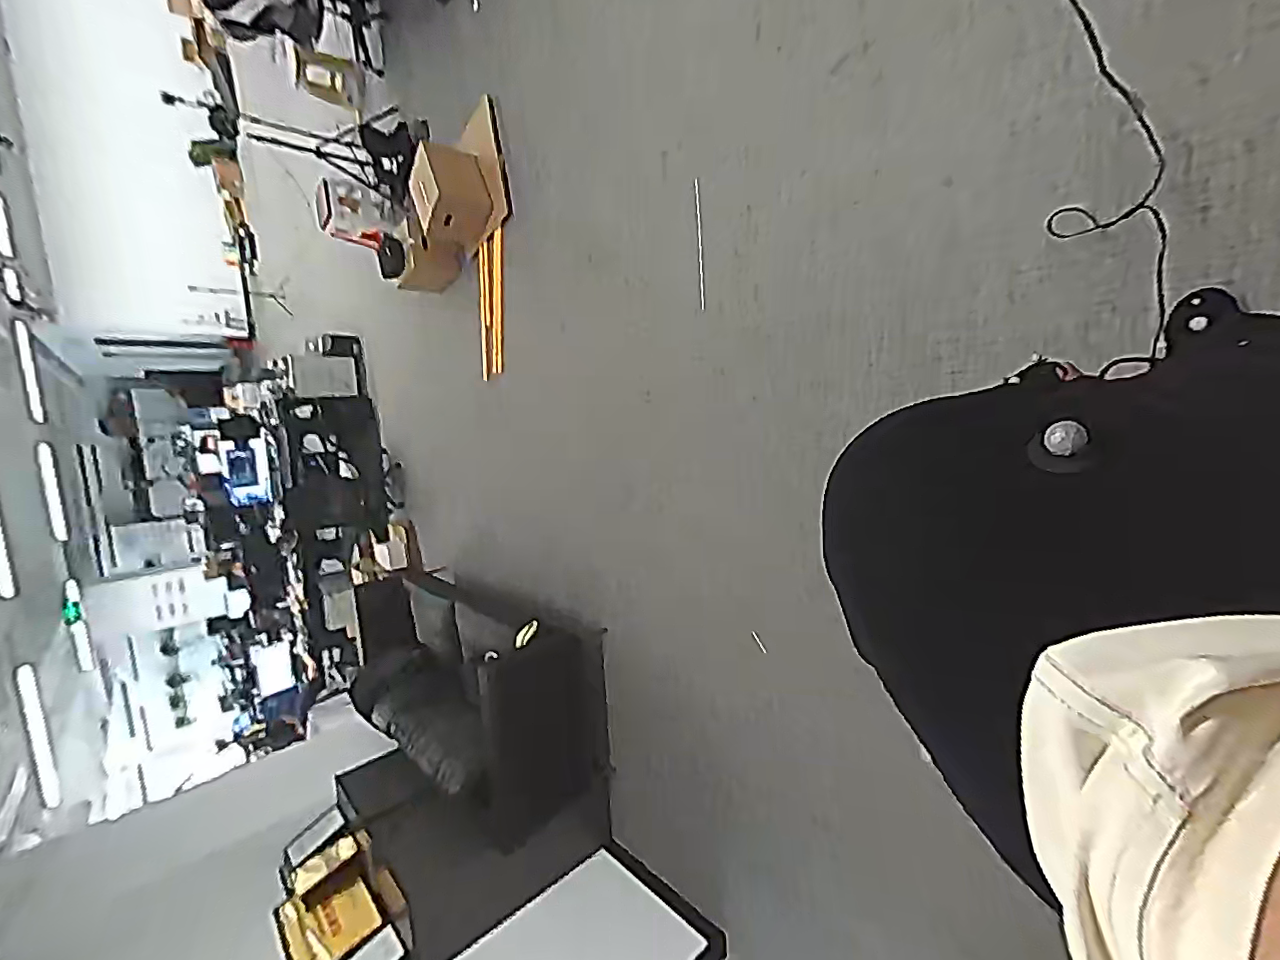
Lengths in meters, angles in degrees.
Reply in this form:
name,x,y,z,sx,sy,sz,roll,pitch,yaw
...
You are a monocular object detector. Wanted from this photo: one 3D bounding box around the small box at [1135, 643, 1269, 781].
name,x,y,z,sx,sy,sz,roll,pitch,yaw
small box,1.154,0.465,1.113,0.168,0.176,0.179,11,105,46
